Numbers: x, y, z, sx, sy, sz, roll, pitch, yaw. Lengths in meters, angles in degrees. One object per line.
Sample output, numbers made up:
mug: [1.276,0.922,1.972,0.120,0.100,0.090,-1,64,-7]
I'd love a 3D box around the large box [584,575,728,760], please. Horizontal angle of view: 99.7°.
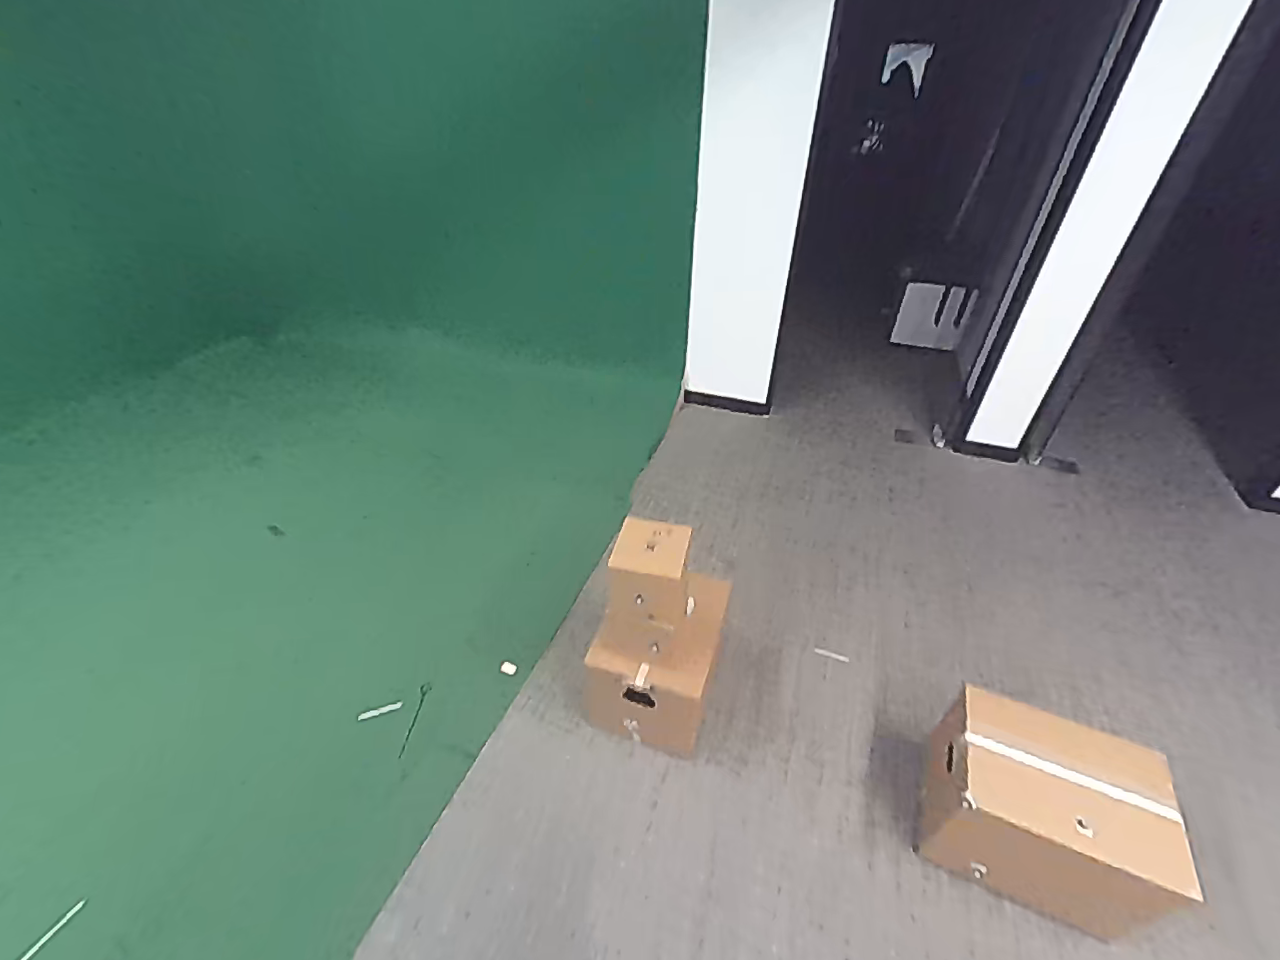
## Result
large box: [0.057,0.518,1.581,0.320,0.320,0.408,13,38,15]

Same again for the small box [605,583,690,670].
small box: [0.021,0.359,1.386,0.179,0.176,0.168,11,37,15]

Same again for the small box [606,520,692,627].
small box: [0.025,0.224,1.292,0.168,0.176,0.179,9,37,11]
